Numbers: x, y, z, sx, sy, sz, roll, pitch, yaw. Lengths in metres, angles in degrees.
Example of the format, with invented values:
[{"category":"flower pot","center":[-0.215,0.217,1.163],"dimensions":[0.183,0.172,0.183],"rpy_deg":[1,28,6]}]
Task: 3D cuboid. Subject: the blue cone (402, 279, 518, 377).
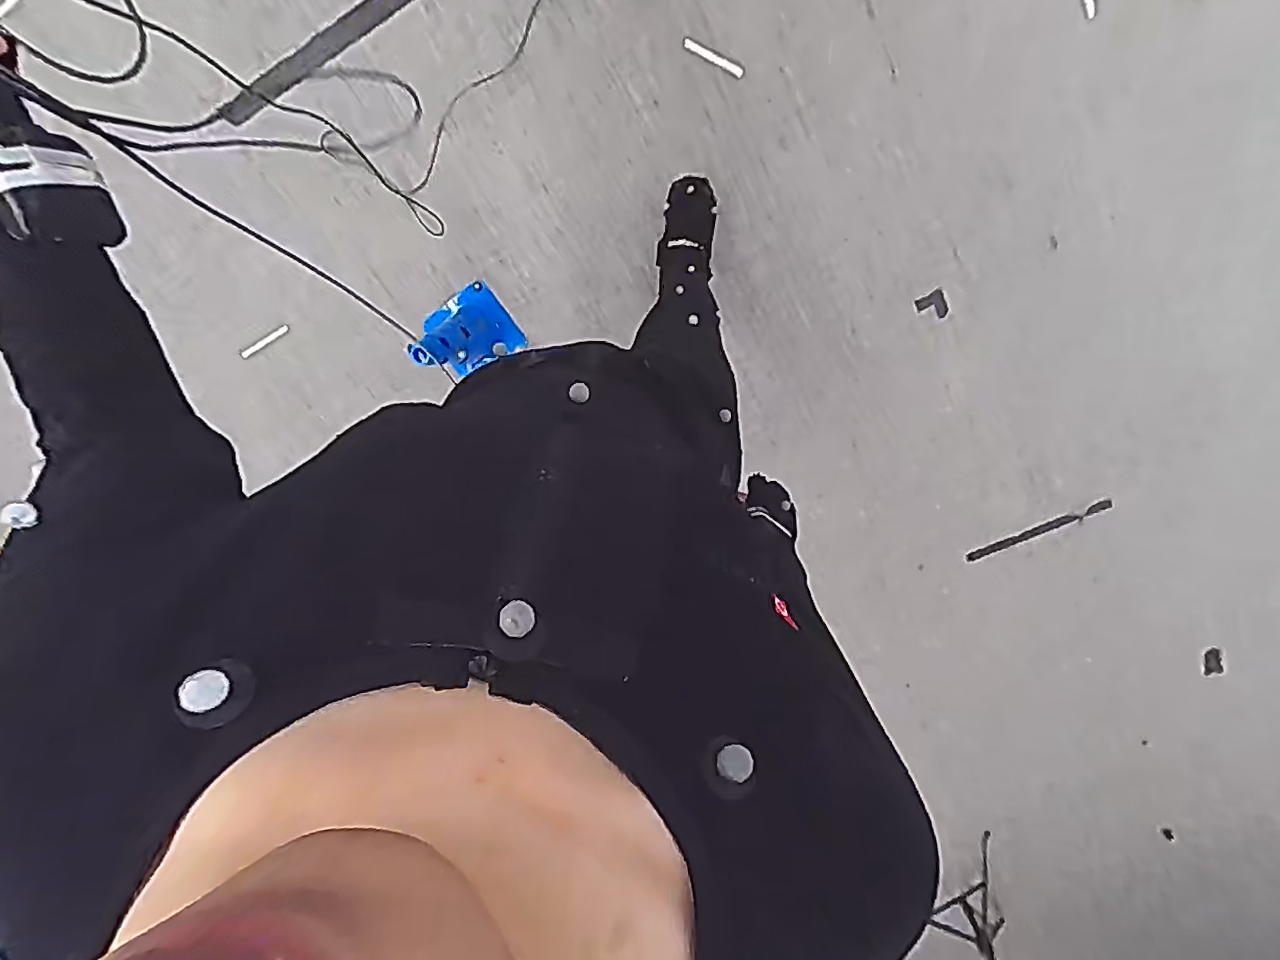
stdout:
[{"category":"blue cone","center":[-0.424,-0.316,1.197],"dimensions":[0.193,0.380,0.192],"rpy_deg":[-32,106,12]}]
